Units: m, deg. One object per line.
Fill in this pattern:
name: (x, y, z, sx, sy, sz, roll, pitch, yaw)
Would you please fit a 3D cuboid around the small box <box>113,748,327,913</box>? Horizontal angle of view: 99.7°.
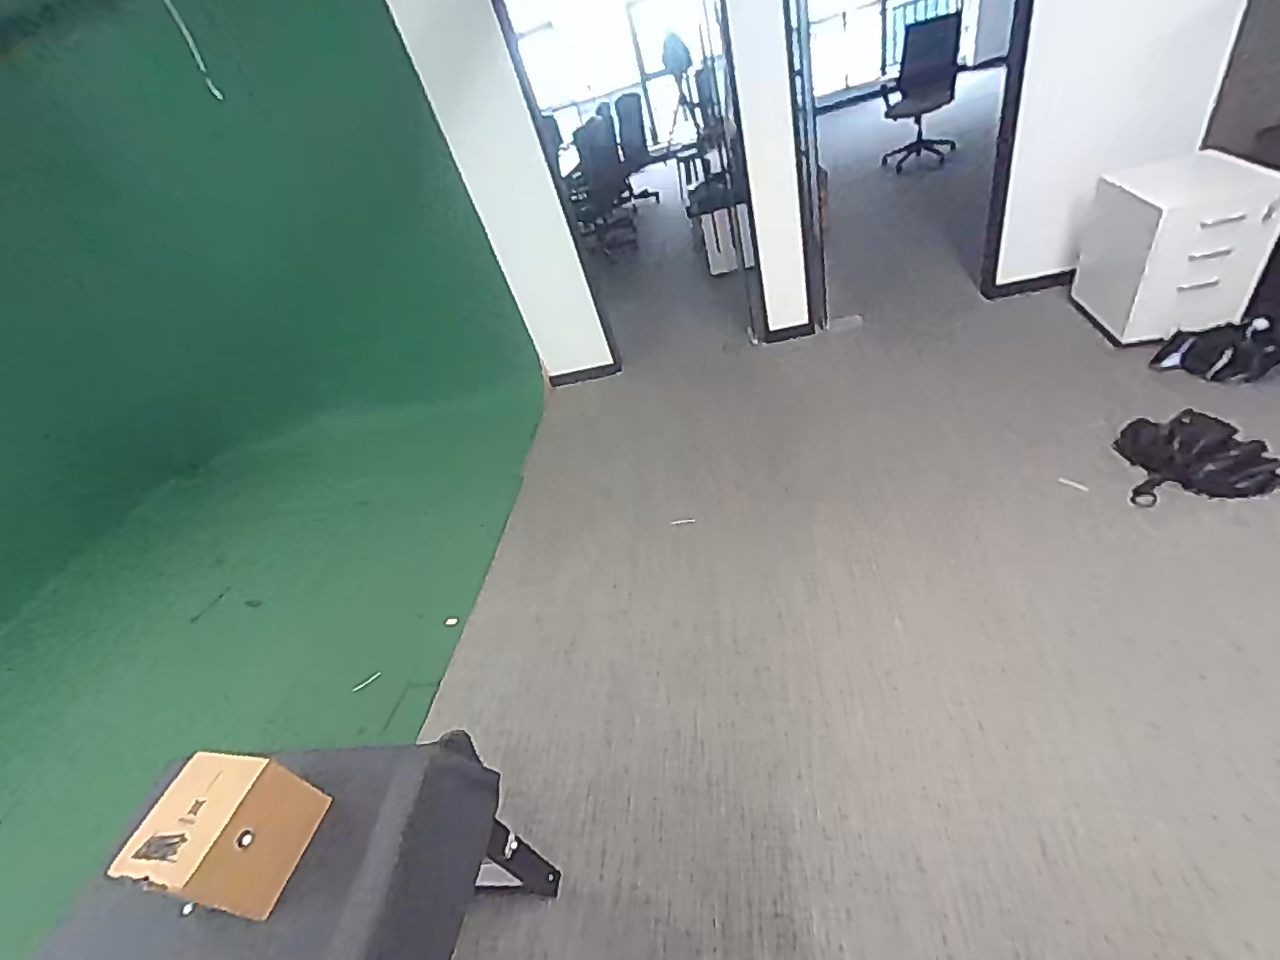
small box: (-0.654, 0.561, 0.869, 0.168, 0.176, 0.179, -4, 40, 18)
